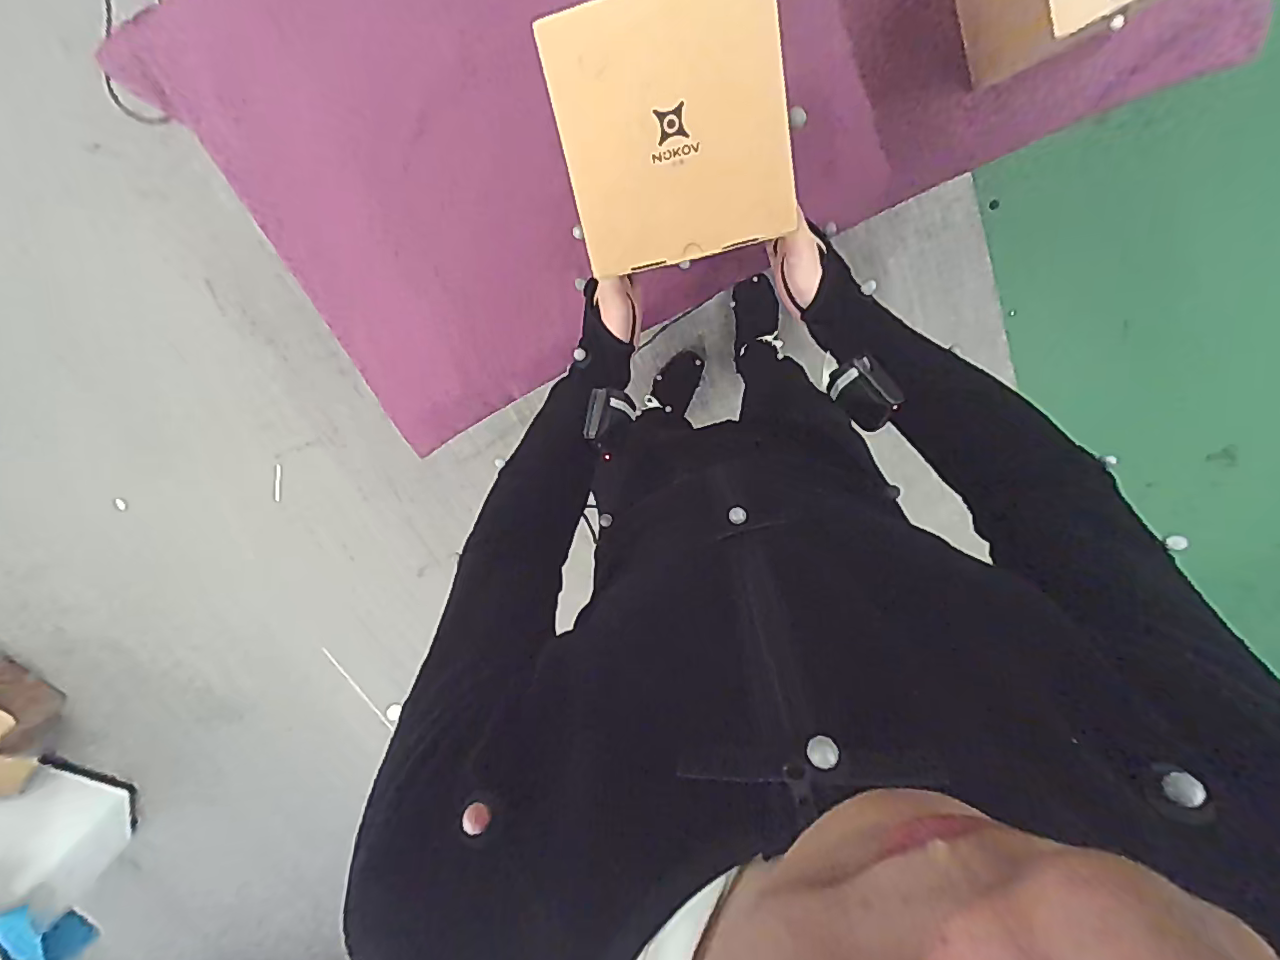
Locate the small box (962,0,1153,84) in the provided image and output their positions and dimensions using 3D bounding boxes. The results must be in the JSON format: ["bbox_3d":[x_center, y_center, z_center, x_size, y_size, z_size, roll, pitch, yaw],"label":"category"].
[{"bbox_3d":[0.433,-0.543,0.531,0.168,0.176,0.179,-21,107,15],"label":"small box"}]

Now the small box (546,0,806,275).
[{"bbox_3d":[0.037,-0.288,0.461,0.168,0.176,0.179,-9,115,11],"label":"small box"}]
